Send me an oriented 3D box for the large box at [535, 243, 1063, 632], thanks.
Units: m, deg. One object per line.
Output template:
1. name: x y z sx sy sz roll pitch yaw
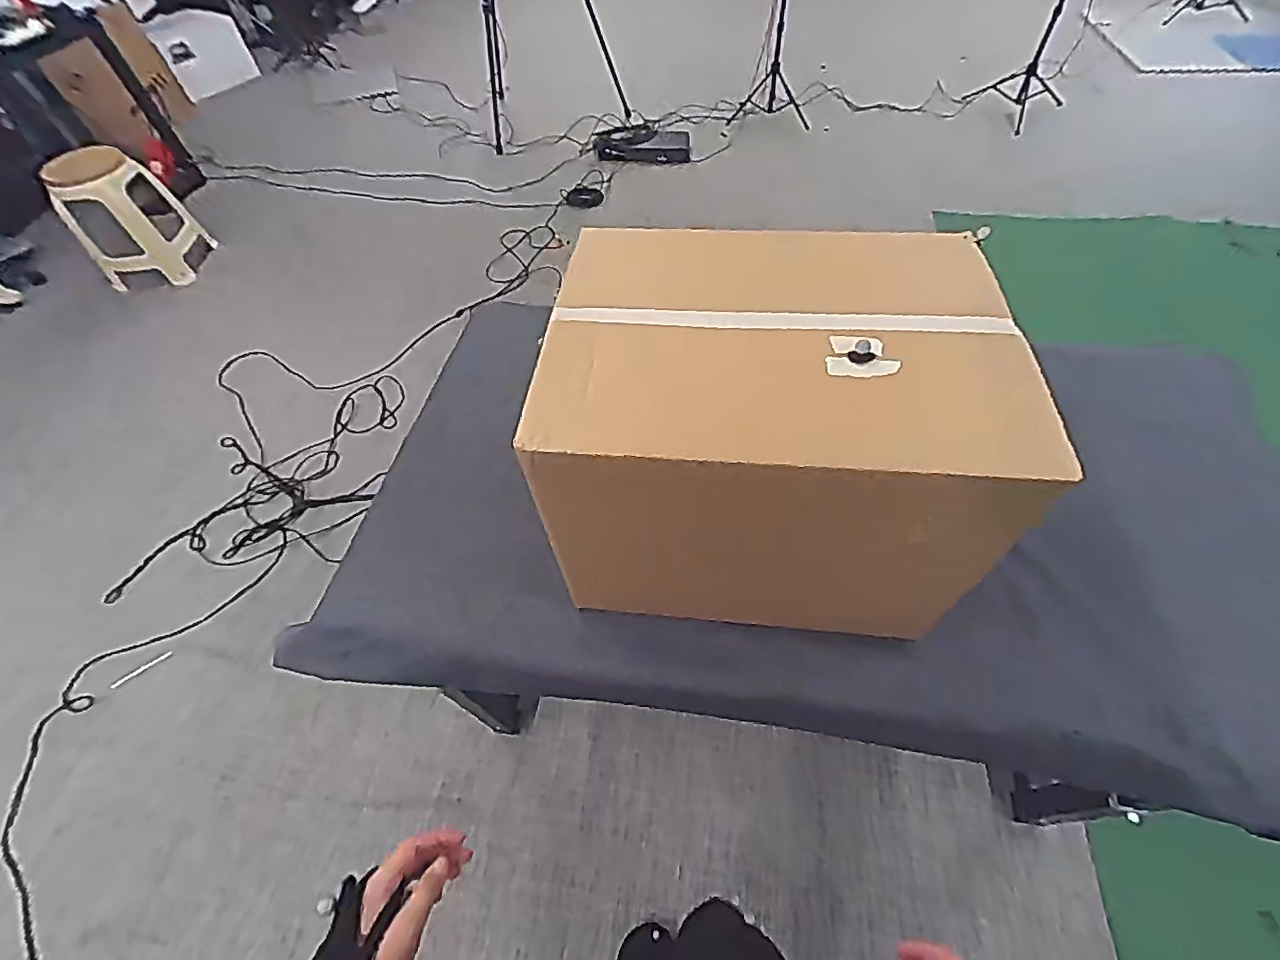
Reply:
1. large box: 0.129 -0.041 0.613 0.408 0.320 0.320 4 55 5
